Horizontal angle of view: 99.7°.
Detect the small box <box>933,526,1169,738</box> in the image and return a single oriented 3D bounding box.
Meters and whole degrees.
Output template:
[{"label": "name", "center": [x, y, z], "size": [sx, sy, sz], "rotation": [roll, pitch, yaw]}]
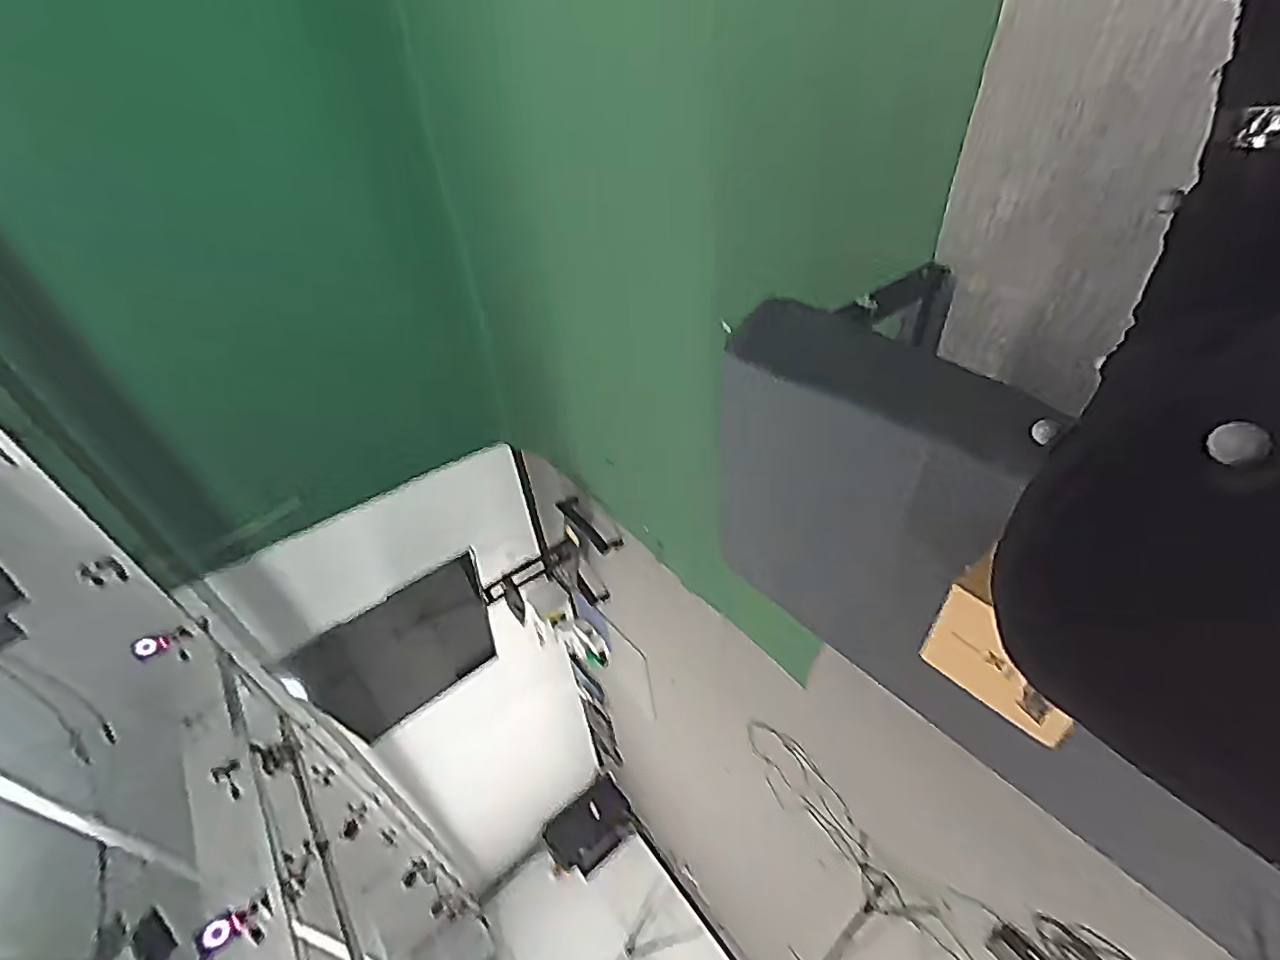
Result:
[{"label": "small box", "center": [0.538, 0.190, 0.719], "size": [0.179, 0.176, 0.168], "rotation": [37, 145, 39]}]
